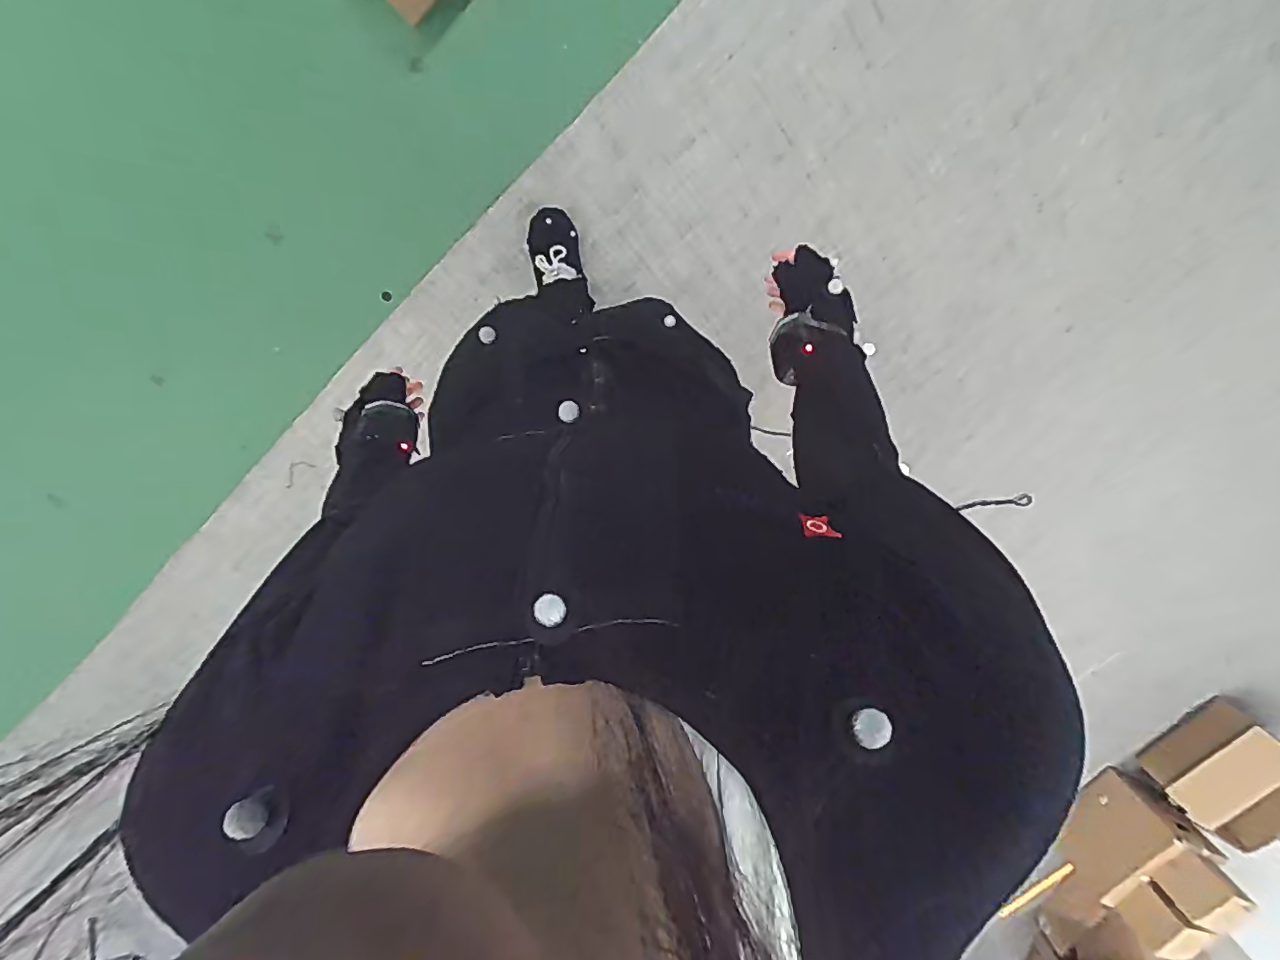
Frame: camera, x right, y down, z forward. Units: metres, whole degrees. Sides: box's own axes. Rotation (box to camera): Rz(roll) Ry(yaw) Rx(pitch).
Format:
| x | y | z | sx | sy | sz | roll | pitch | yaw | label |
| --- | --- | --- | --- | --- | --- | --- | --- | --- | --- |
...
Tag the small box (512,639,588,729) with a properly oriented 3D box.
| x | y | z | sx | sy | sz | roll | pitch | yaw | label |
| --- | --- | --- | --- | --- | --- | --- | --- | --- | --- |
| -0.284 | 0.646 | 1.724 | 0.168 | 0.176 | 0.179 | 39 | 106 | -20 | small box |
